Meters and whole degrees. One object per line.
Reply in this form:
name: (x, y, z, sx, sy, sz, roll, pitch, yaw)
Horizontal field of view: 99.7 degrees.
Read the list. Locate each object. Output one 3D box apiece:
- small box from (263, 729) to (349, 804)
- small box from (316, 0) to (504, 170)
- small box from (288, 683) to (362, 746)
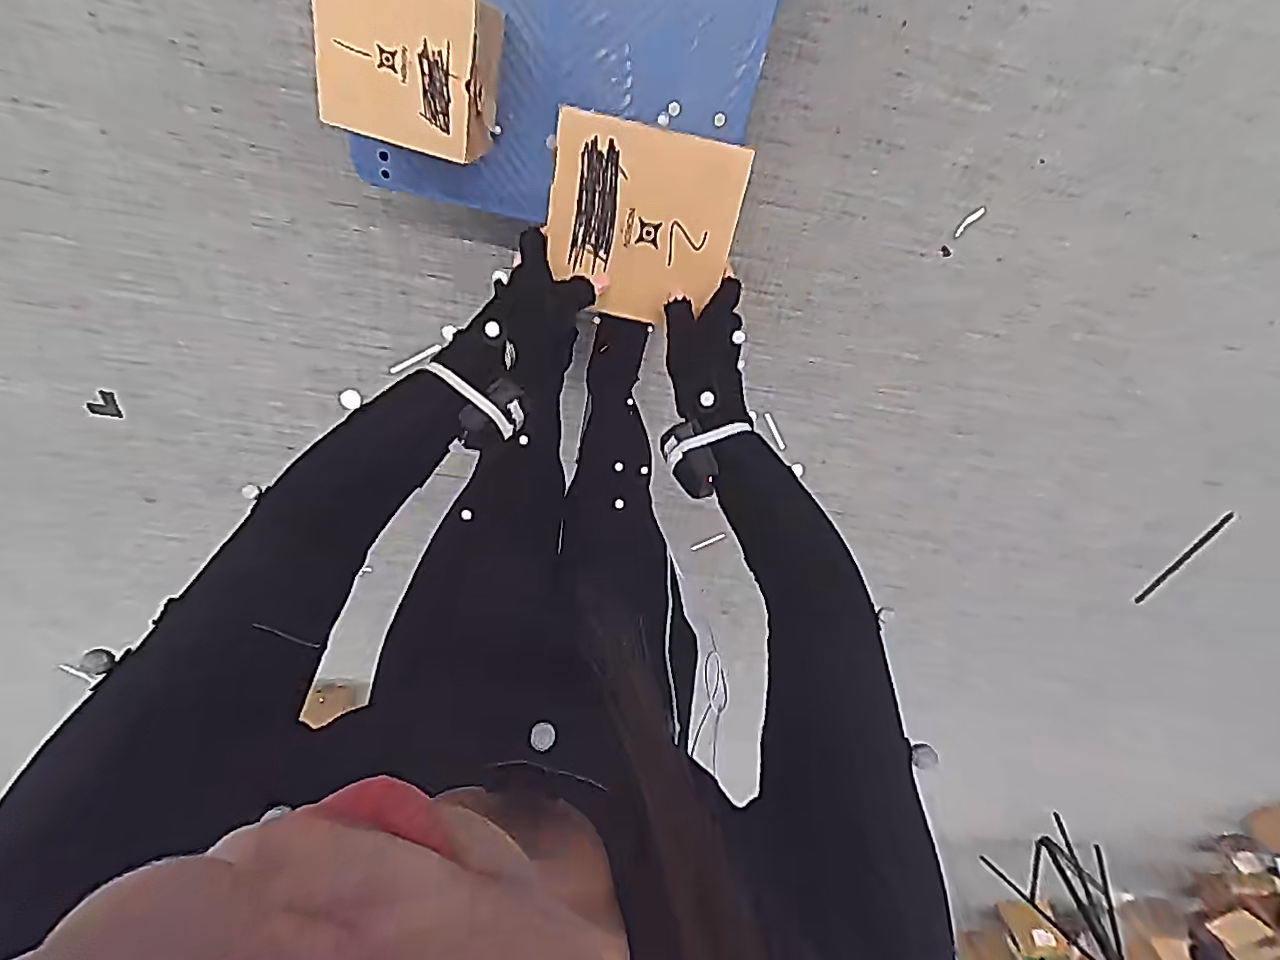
small box: (-1.121, 0.966, 1.829, 0.179, 0.176, 0.168, 7, 128, -5)
small box: (-0.278, -0.519, 0.683, 0.179, 0.176, 0.168, 12, 126, -10)
small box: (-1.129, 0.863, 1.957, 0.168, 0.176, 0.179, 7, 127, -7)
